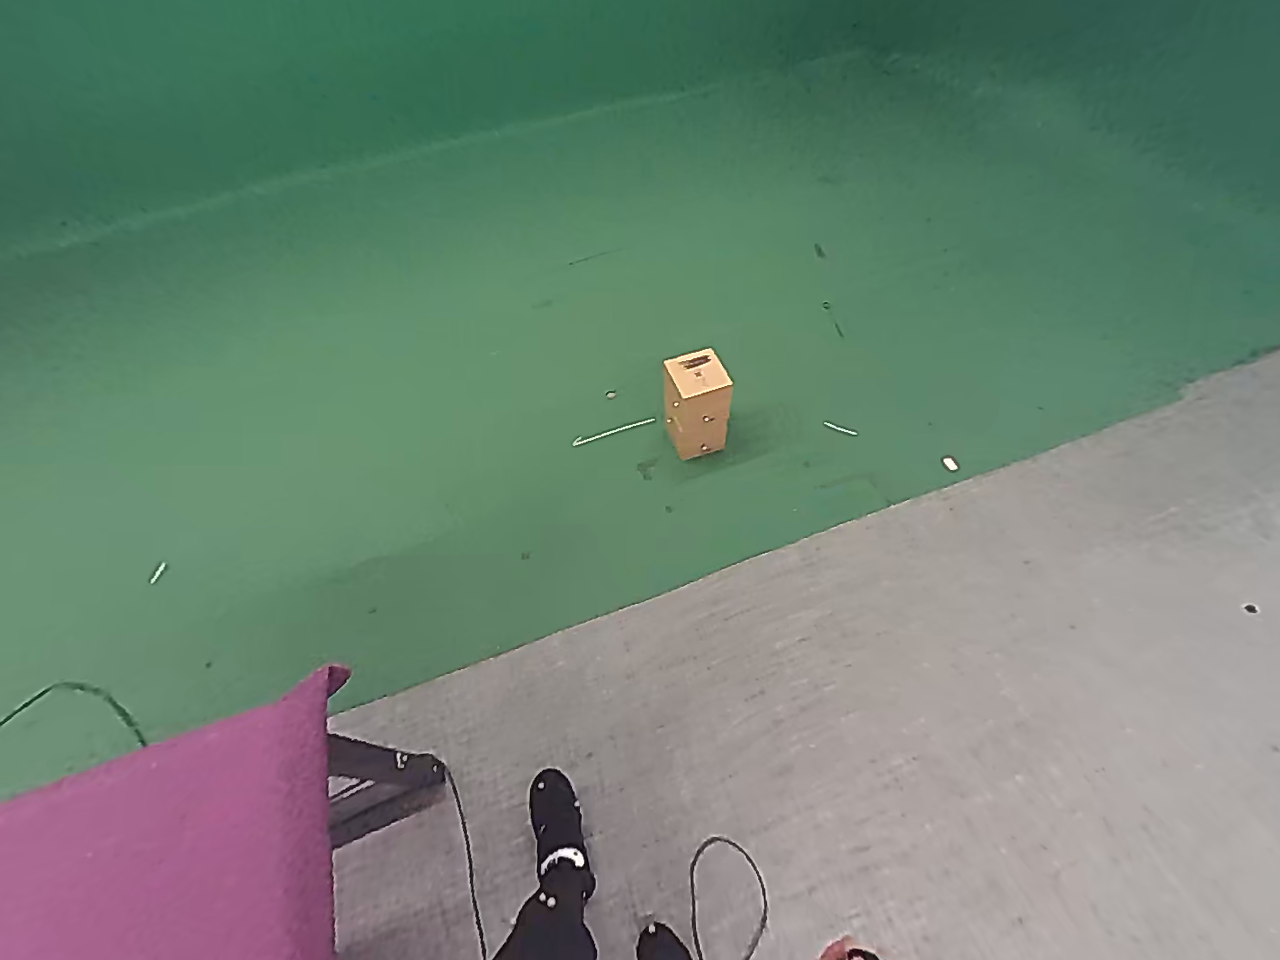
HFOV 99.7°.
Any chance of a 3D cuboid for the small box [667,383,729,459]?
[{"bbox_3d":[0.198,-0.204,1.900,0.168,0.176,0.179,-17,58,-7],"label":"small box"}]
